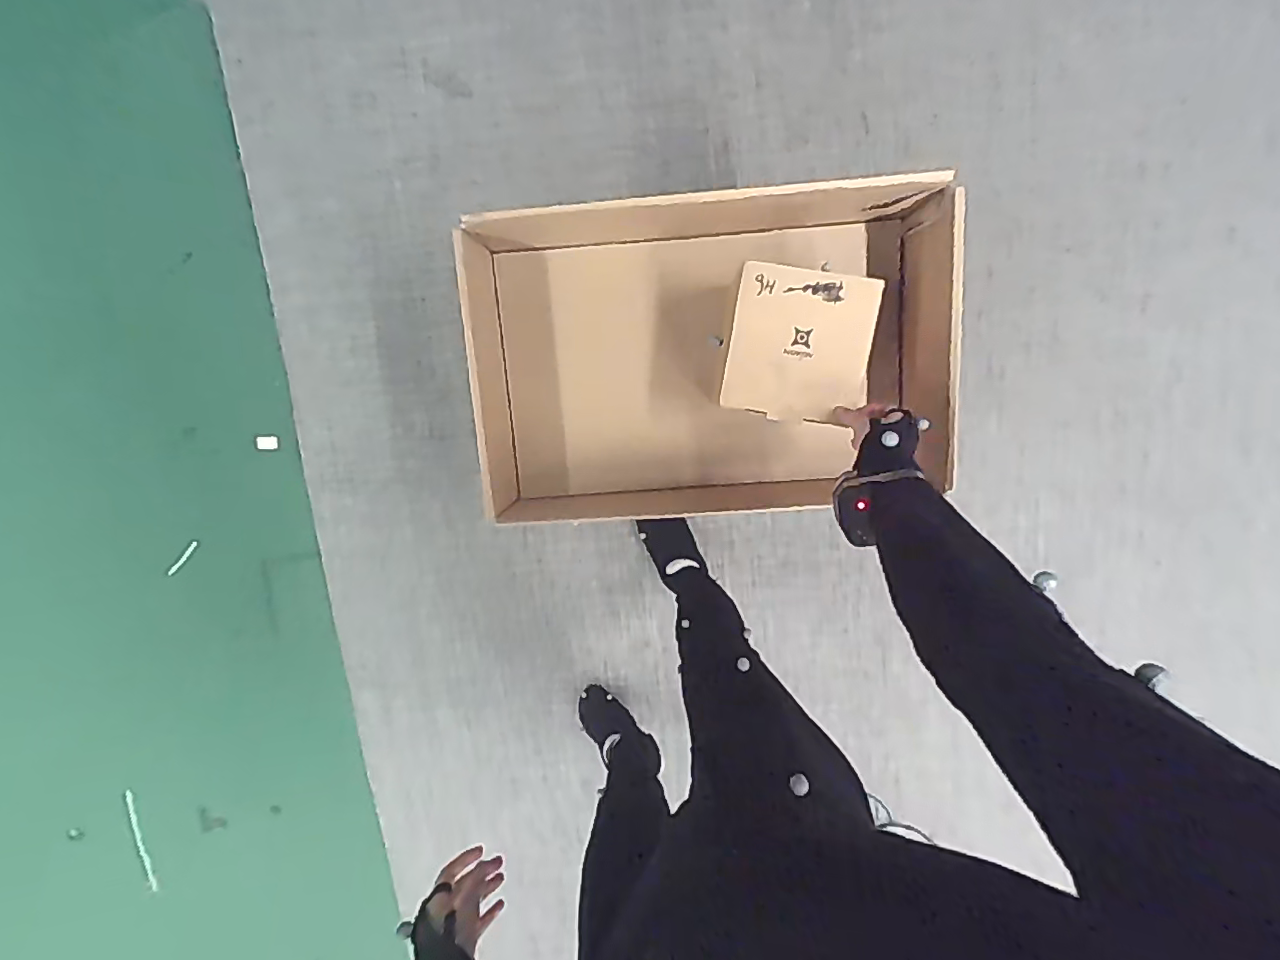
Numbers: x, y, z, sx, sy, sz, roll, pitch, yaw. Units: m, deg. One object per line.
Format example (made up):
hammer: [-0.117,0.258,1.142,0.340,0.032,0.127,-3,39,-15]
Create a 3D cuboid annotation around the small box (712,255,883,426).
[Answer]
small box: [0.192,-0.178,0.718,0.168,0.176,0.179,10,101,2]
